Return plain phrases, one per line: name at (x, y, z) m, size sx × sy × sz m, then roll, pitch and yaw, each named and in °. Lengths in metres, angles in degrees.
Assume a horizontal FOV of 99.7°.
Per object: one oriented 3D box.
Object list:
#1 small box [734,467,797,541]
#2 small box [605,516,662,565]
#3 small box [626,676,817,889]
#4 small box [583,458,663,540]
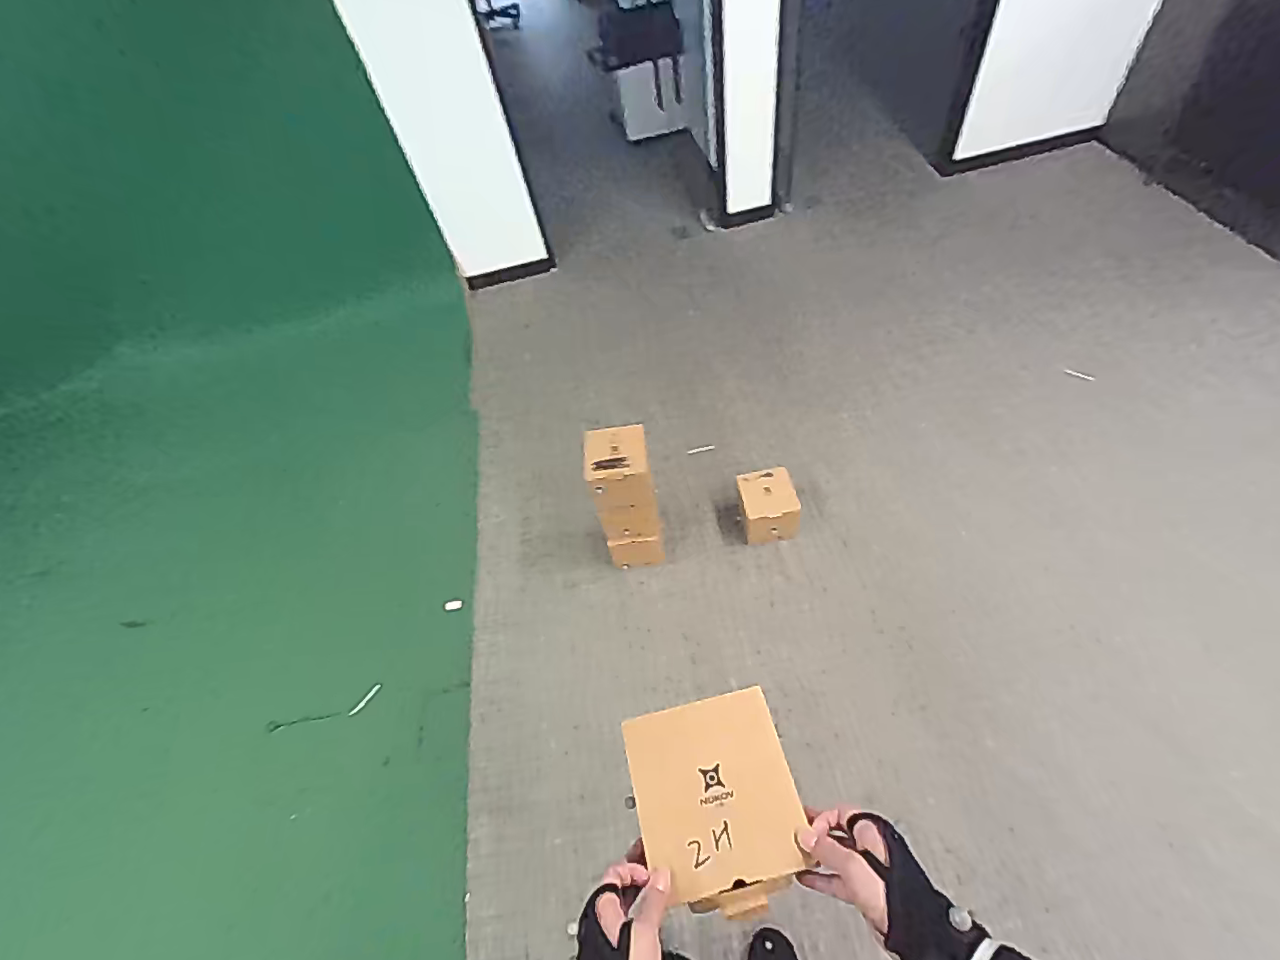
small box at (0.408, 0.086, 1.770) m, size 0.168 × 0.176 × 0.179 m, roll -10°, pitch 54°, yaw 3°
small box at (-0.021, 0.169, 1.786) m, size 0.168 × 0.176 × 0.179 m, roll -8°, pitch 52°, yaw 4°
small box at (0.083, 0.354, 0.630) m, size 0.168 × 0.176 × 0.179 m, roll -12°, pitch 54°, yaw -2°
small box at (-0.047, 0.064, 1.674) m, size 0.179 × 0.176 × 0.168 m, roll 19°, pitch 61°, yaw 22°
